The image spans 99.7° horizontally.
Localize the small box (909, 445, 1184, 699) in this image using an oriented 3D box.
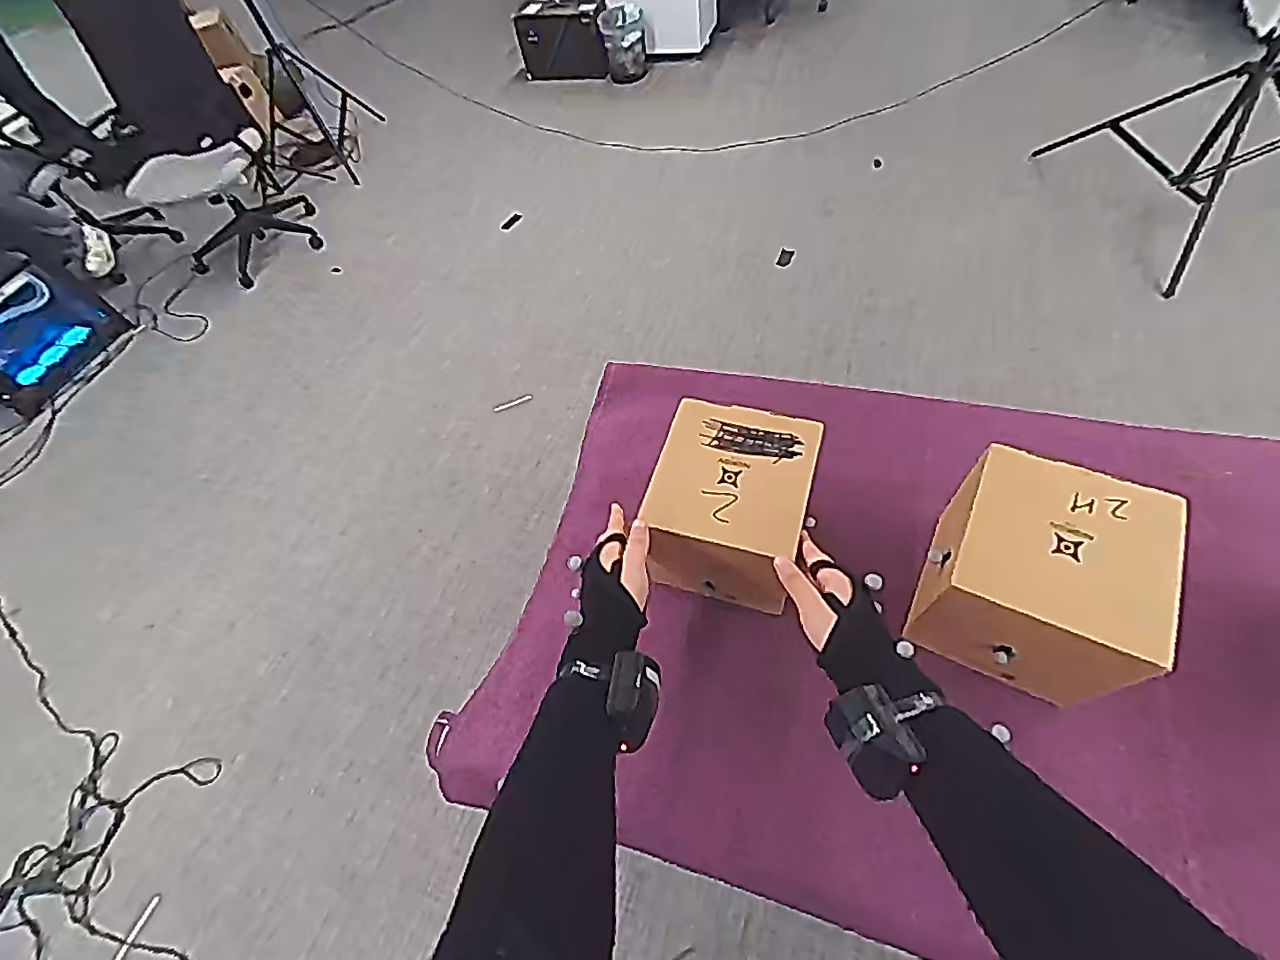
[{"bbox_3d":[0.401,0.101,0.561,0.168,0.176,0.179,23,63,21],"label":"small box"}]
